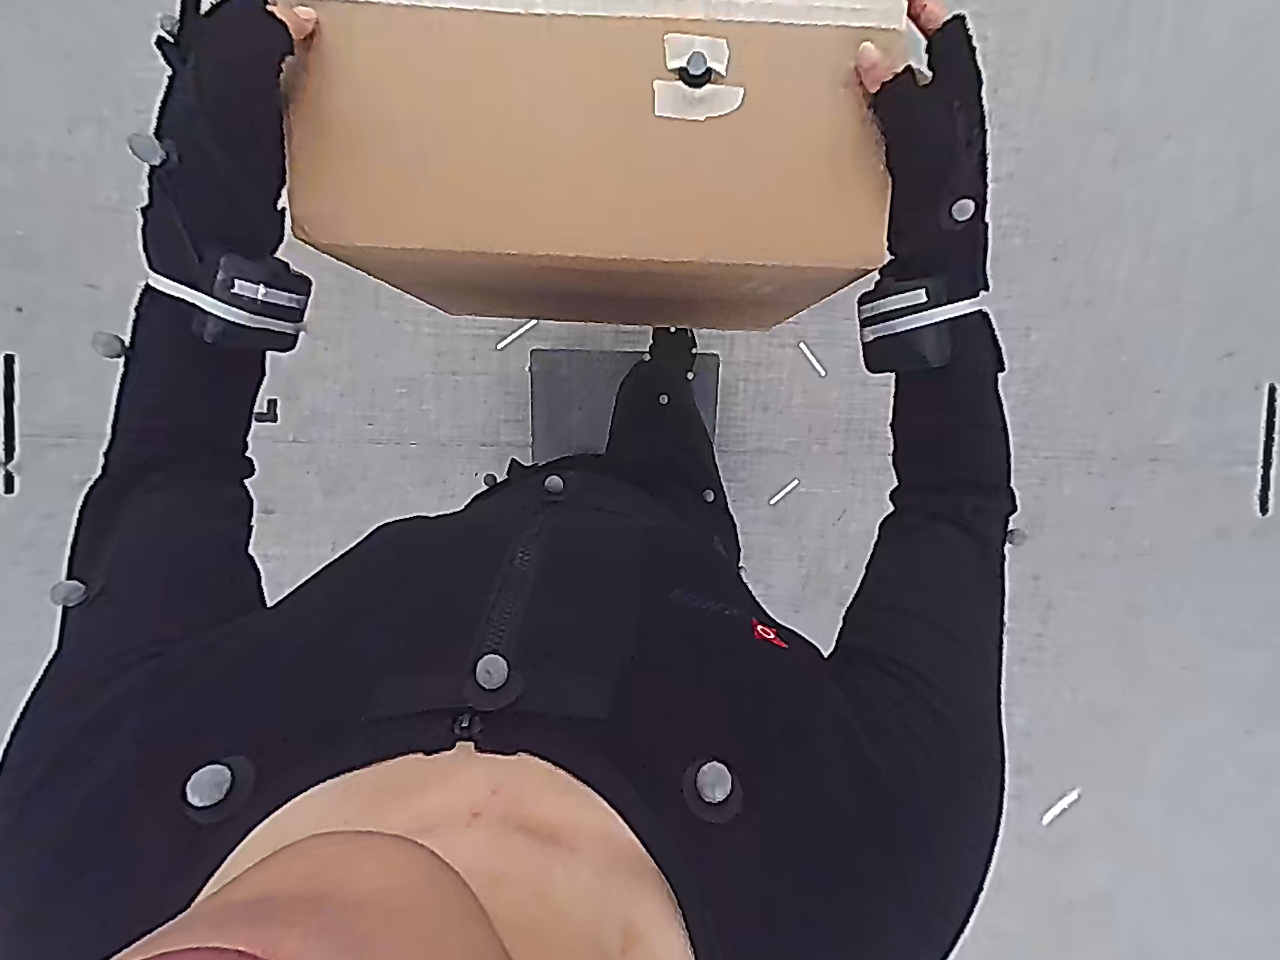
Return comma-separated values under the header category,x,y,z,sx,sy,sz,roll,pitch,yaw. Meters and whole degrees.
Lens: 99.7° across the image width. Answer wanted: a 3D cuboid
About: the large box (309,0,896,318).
category,x,y,z,sx,sy,sz,roll,pitch,yaw
large box,-0.028,-0.340,0.514,0.408,0.320,0.320,2,98,-2
